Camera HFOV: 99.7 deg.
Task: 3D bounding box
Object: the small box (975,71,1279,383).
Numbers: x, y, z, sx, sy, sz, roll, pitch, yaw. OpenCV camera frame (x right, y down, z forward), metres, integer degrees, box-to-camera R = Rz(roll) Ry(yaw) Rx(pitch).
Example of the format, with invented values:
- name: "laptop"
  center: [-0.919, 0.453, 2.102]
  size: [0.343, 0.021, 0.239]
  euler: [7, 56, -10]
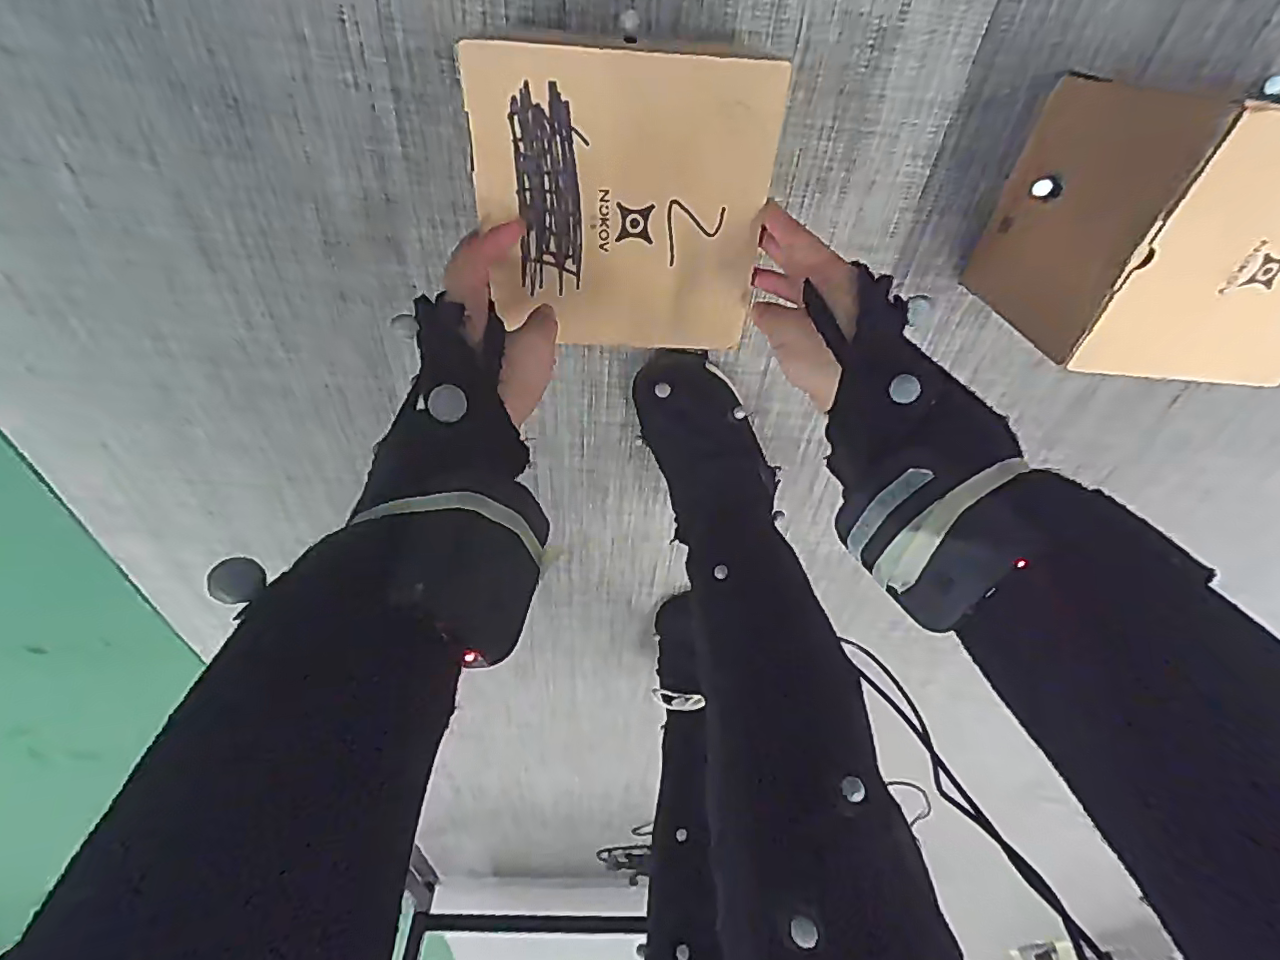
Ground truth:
- name: "small box"
  center: [0.407, -0.193, 0.409]
  size: [0.179, 0.176, 0.168]
  euler: [4, 132, -3]
